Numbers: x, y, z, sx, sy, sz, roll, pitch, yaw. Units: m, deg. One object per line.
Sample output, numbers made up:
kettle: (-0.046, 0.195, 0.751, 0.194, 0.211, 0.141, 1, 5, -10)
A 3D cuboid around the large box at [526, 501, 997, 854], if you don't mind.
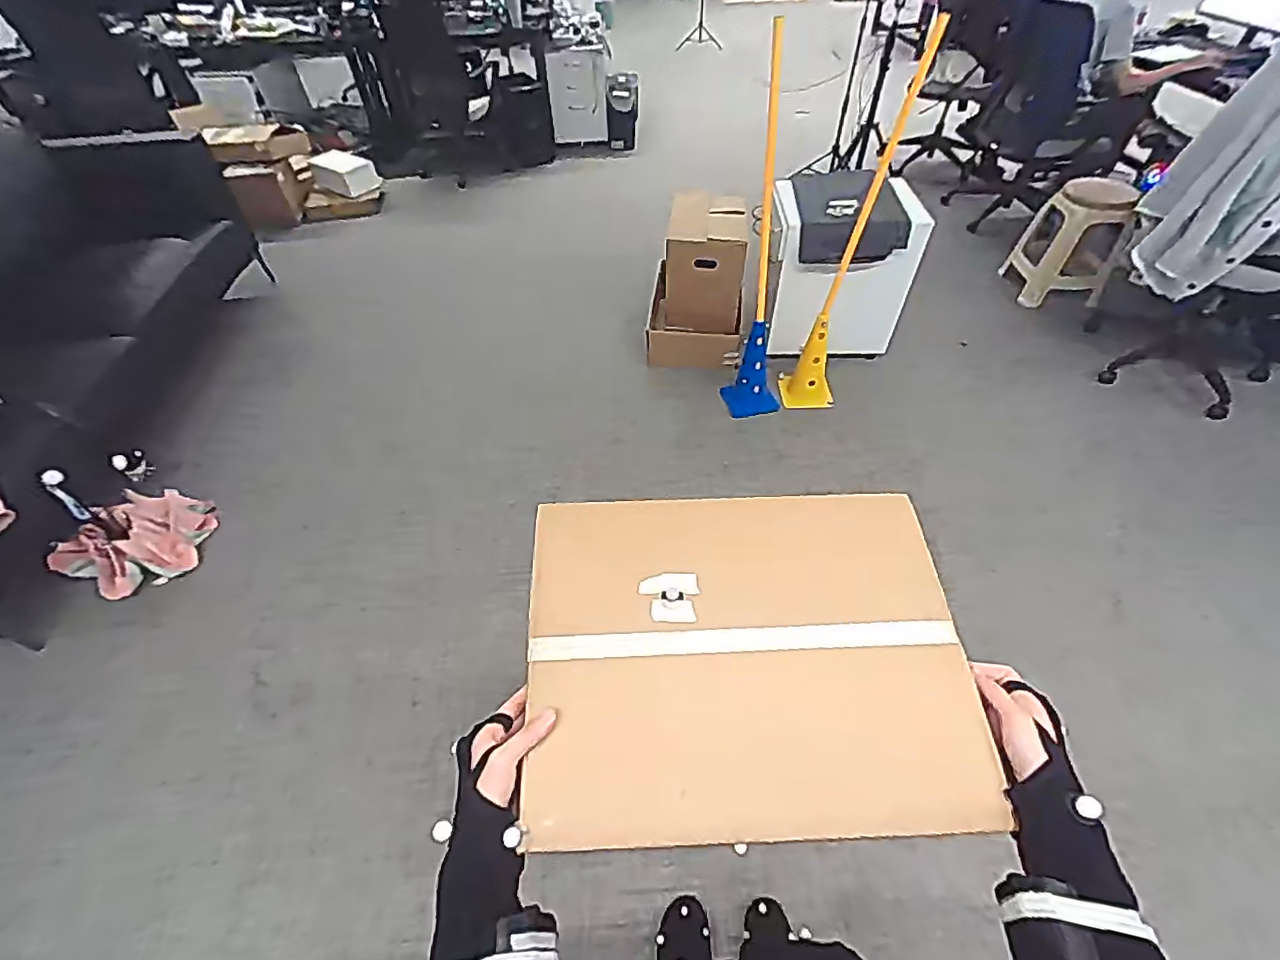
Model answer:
large box: (0.100, 0.241, 0.652, 0.408, 0.320, 0.320, -3, 58, 0)
